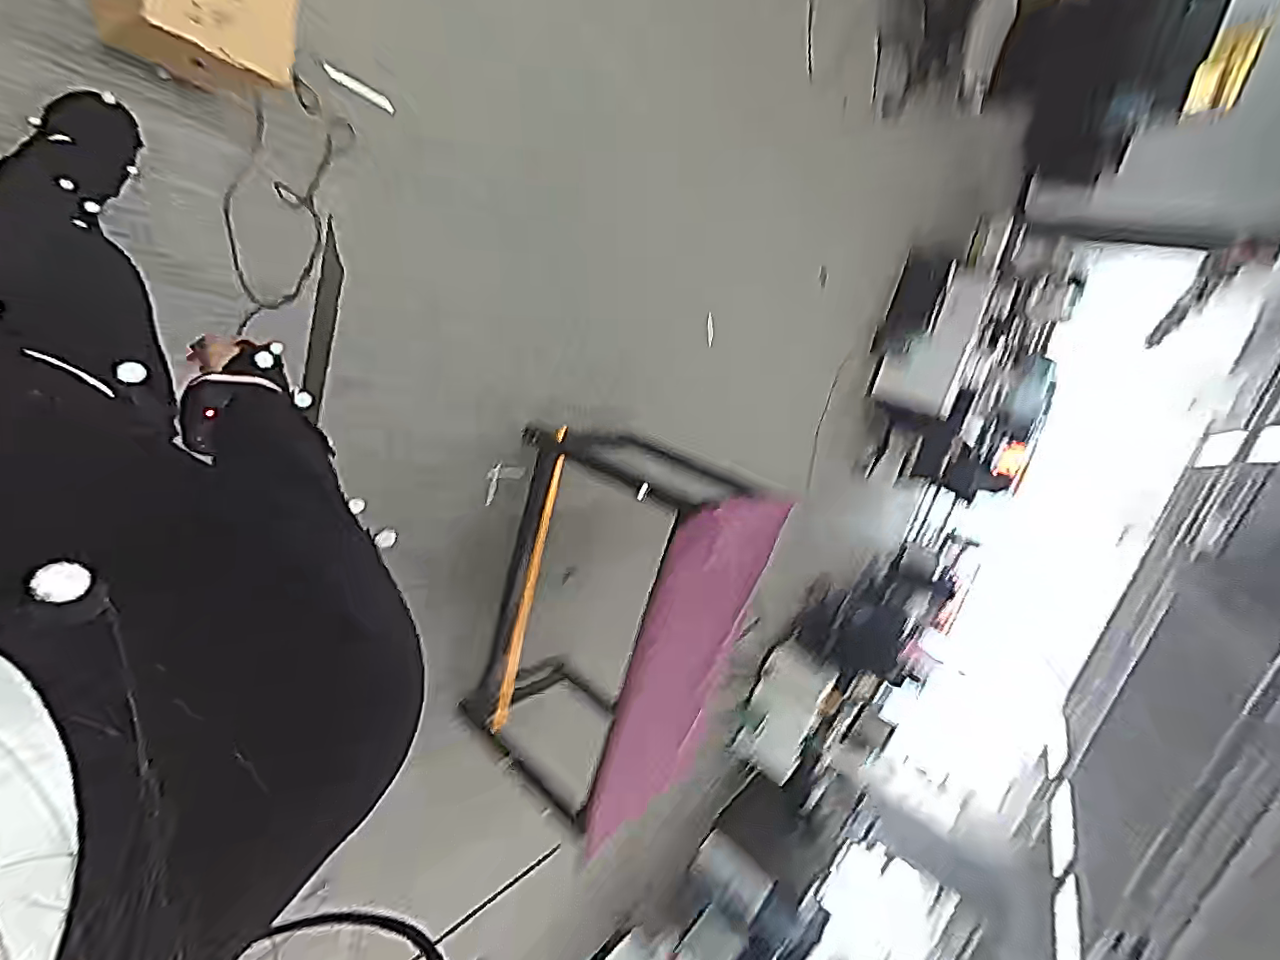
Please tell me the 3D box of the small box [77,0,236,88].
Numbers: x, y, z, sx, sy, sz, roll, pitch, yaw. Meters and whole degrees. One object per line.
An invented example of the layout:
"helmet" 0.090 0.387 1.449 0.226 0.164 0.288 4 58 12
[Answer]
"small box" -0.747 -0.751 0.844 0.168 0.176 0.179 -2 114 -53

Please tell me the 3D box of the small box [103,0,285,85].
"small box" -0.622 -0.691 0.755 0.168 0.176 0.179 -4 115 -52
